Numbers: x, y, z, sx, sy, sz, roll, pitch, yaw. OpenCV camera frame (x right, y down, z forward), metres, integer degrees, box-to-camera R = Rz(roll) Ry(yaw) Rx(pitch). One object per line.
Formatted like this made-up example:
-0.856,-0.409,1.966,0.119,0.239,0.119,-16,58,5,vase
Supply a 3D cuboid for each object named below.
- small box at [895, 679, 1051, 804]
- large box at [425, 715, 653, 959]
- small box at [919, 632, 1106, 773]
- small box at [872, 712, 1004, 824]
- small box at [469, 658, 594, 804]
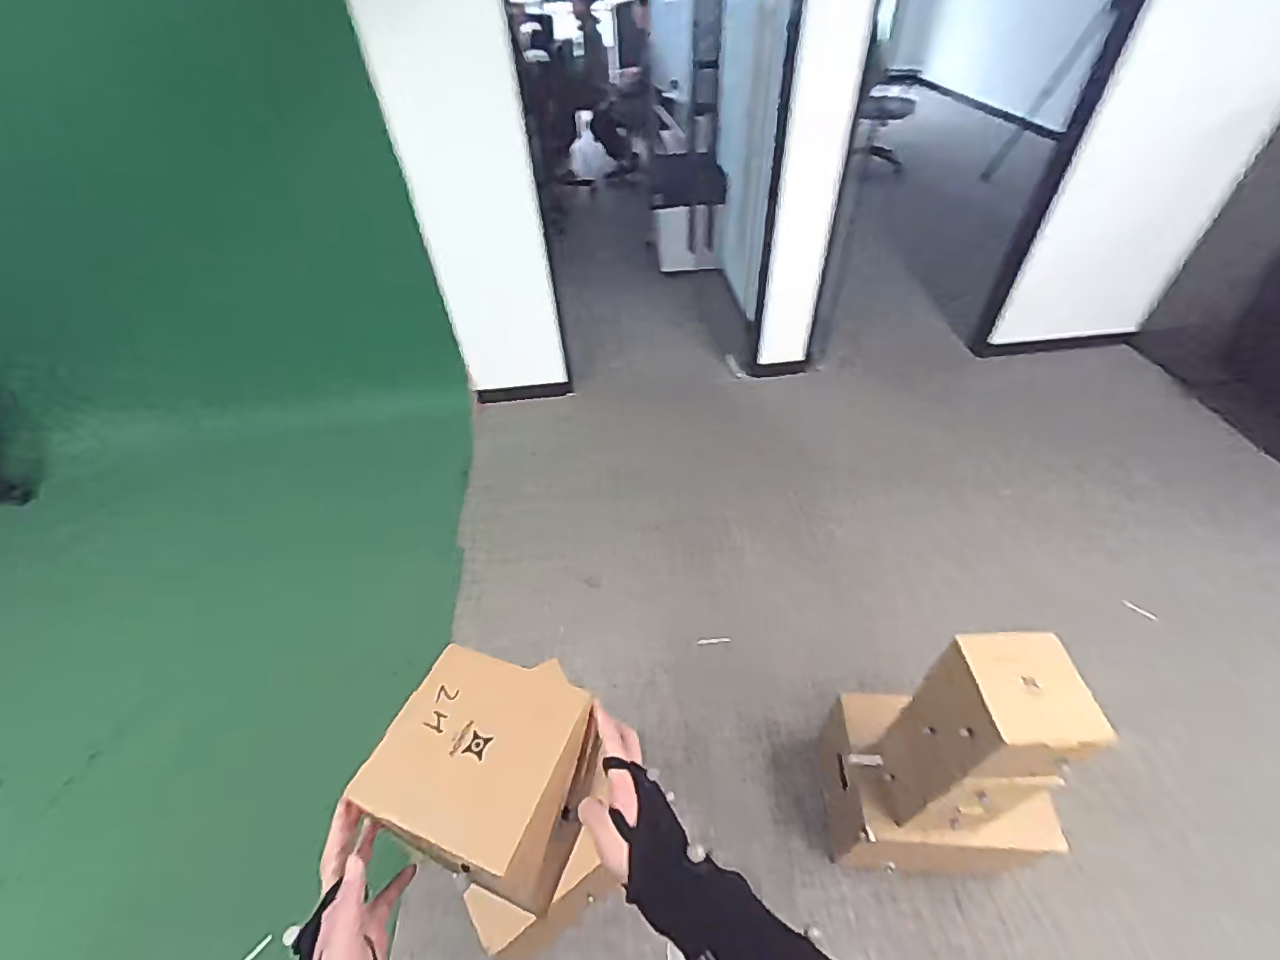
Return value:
0.605,0.491,1.010,0.168,0.176,0.179,-2,45,2,small box
-0.218,0.834,1.284,0.408,0.320,0.320,-31,51,-23,large box
0.597,0.372,0.897,0.168,0.176,0.179,-1,45,1,small box
0.607,0.603,1.127,0.168,0.176,0.179,-1,47,2,small box
-0.205,0.488,1.048,0.179,0.176,0.168,-24,49,-20,small box
